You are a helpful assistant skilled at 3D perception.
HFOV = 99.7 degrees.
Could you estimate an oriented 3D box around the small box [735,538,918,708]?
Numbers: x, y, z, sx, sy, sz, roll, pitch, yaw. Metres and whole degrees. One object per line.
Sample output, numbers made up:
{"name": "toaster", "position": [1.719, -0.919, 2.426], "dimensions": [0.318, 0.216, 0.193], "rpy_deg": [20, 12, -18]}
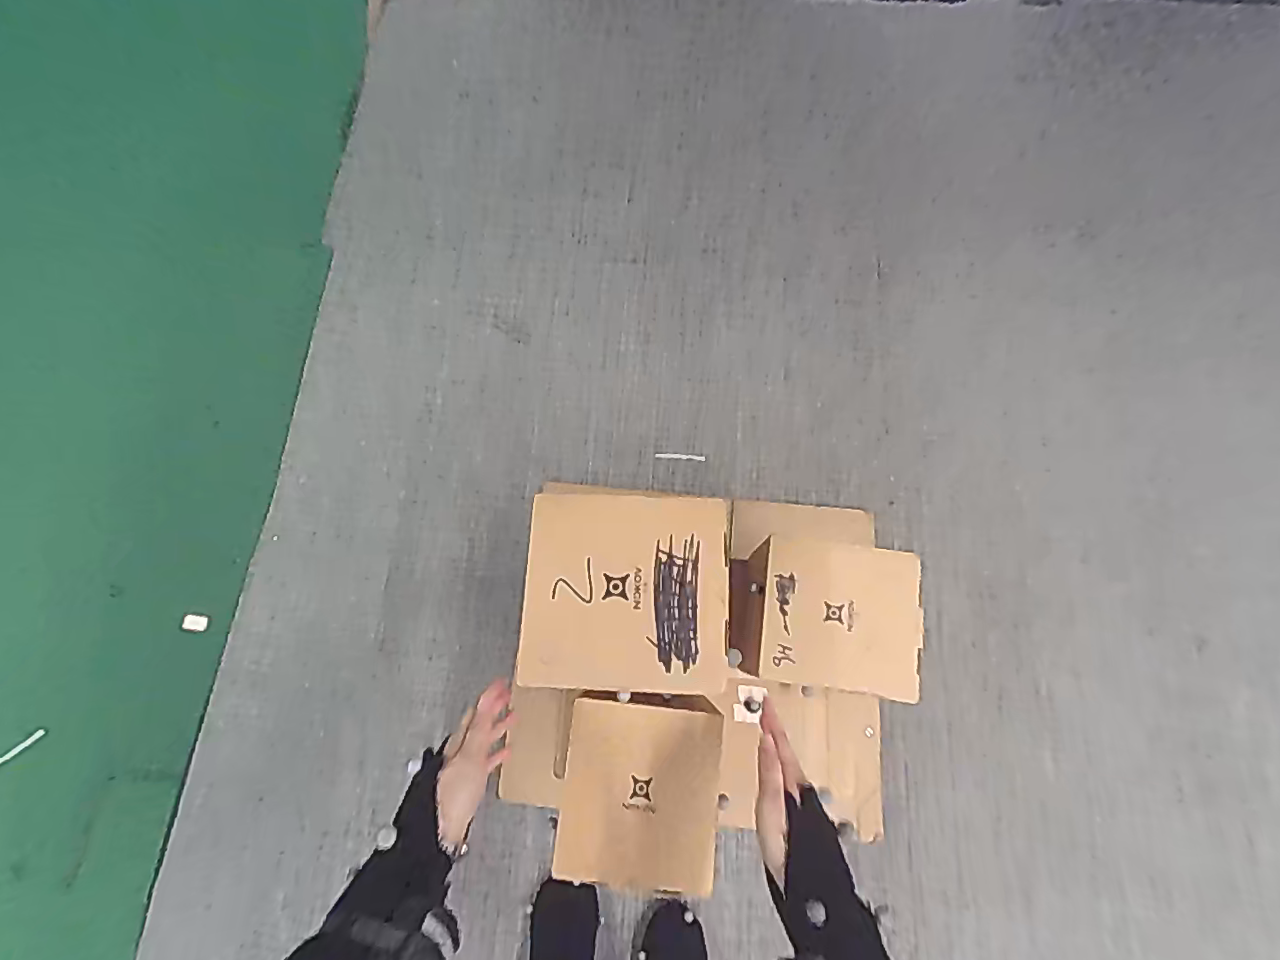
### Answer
{"name": "small box", "position": [0.227, 0.180, 0.689], "dimensions": [0.179, 0.176, 0.168], "rpy_deg": [8, 74, 5]}

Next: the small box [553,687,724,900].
{"name": "small box", "position": [0.000, 0.350, 0.641], "dimensions": [0.168, 0.176, 0.179], "rpy_deg": [6, 75, 1]}
